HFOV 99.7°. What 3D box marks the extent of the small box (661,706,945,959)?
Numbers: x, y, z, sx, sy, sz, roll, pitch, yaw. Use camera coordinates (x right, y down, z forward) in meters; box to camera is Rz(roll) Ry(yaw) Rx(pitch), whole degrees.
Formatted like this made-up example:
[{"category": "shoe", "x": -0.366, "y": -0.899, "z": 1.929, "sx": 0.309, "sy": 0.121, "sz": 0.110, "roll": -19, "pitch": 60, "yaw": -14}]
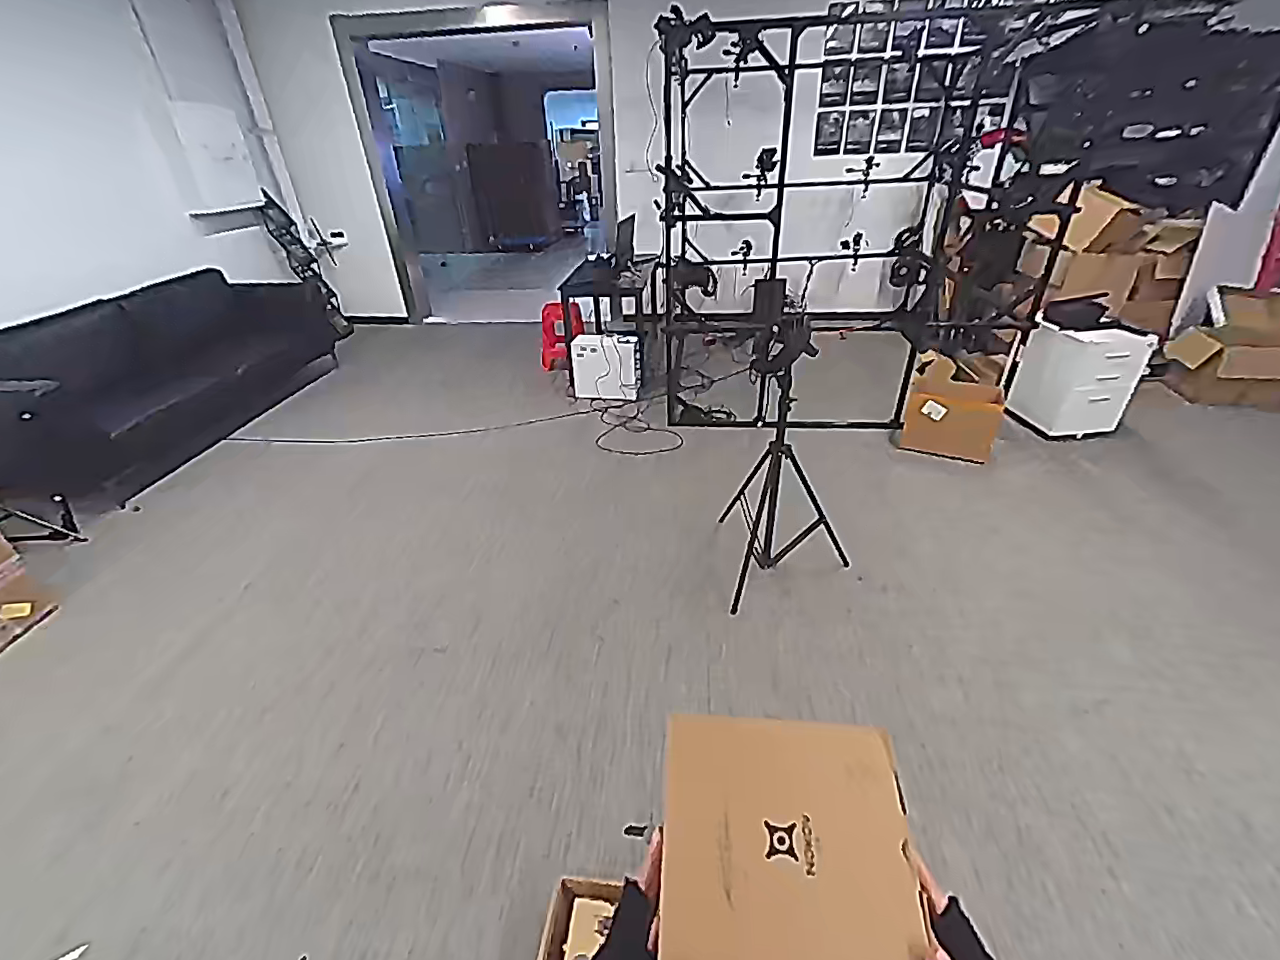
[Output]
[{"category": "small box", "x": 0.108, "y": 0.299, "z": 0.437, "sx": 0.179, "sy": 0.176, "sz": 0.168, "roll": 1, "pitch": 48, "yaw": 4}]
